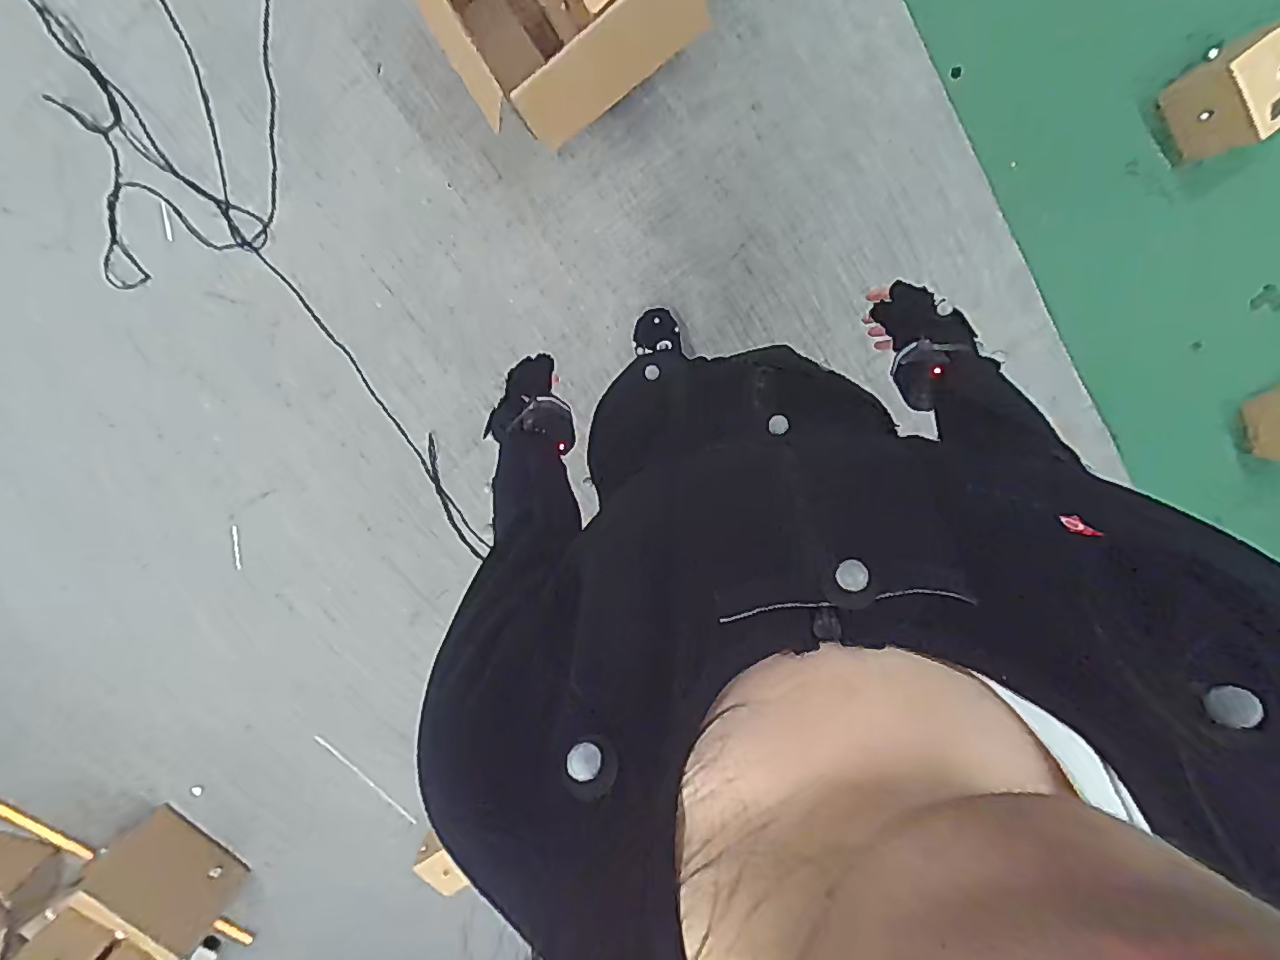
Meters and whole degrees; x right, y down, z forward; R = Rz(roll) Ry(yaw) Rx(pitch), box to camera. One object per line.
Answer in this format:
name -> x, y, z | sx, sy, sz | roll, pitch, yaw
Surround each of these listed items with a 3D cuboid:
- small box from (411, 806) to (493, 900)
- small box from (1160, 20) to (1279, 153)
small box -> -0.627, 1.259, 1.832 | 0.179, 0.176, 0.168 | -36, 104, 11
small box -> 1.284, -0.831, 1.148 | 0.168, 0.176, 0.179 | -37, 102, 11
